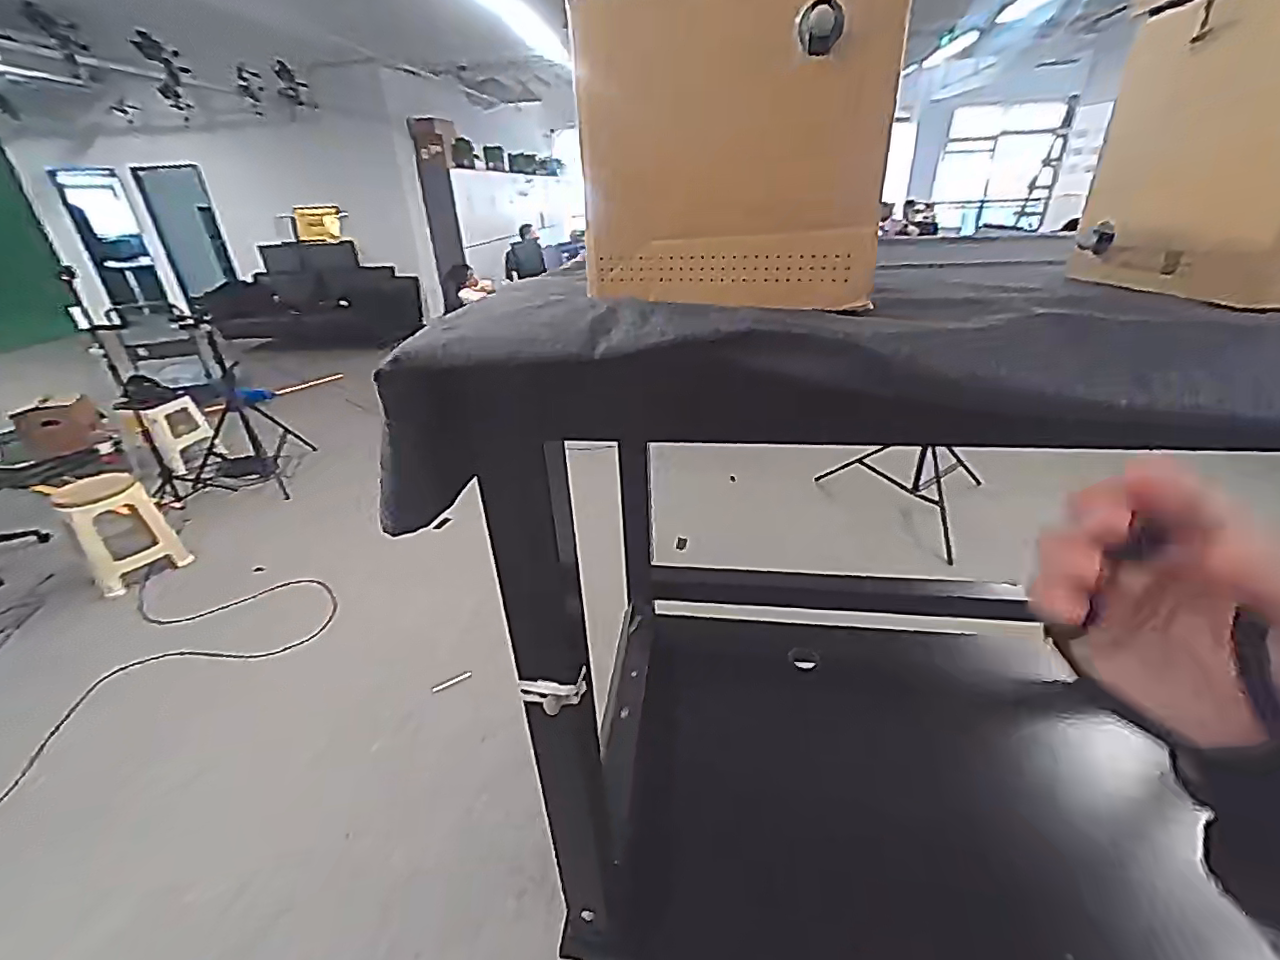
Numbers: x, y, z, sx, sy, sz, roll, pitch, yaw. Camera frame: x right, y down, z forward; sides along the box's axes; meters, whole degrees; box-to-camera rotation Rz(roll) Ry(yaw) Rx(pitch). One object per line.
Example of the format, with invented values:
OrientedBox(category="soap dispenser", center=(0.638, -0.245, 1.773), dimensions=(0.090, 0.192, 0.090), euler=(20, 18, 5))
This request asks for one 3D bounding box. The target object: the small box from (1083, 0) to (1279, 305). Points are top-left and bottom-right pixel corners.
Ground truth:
OrientedBox(category="small box", center=(0.417, -0.203, 0.326), dimensions=(0.179, 0.176, 0.168), euler=(1, 27, 4))

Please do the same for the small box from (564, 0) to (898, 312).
OrientedBox(category="small box", center=(0.065, -0.210, 0.370), dimensions=(0.179, 0.176, 0.168), euler=(6, 26, 15))
